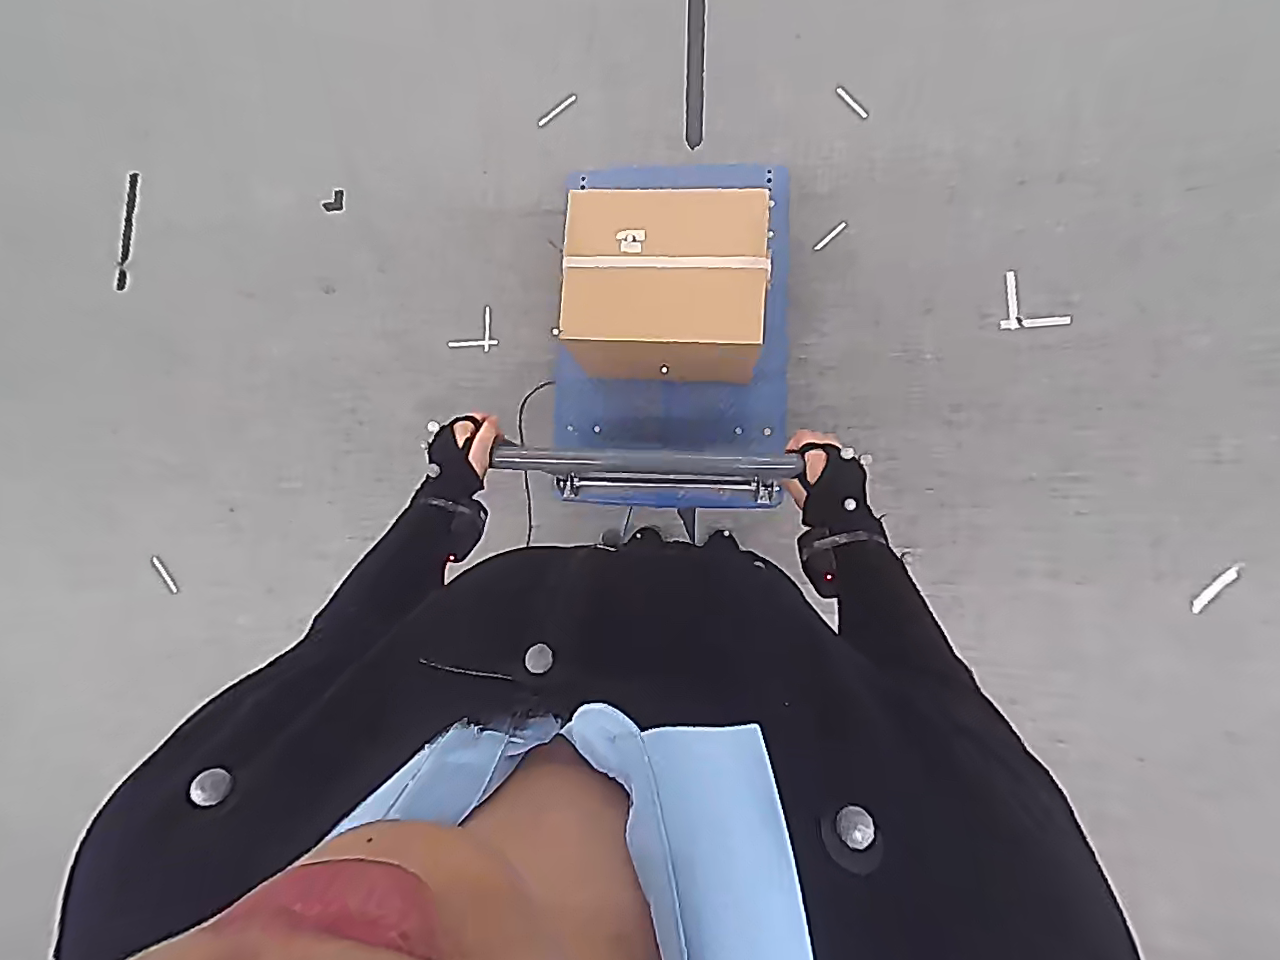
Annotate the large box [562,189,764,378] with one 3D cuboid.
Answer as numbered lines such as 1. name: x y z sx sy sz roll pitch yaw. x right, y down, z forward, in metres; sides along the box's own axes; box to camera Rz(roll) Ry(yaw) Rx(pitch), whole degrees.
1. large box: 0.064 -0.420 1.230 0.408 0.320 0.320 3 85 7
